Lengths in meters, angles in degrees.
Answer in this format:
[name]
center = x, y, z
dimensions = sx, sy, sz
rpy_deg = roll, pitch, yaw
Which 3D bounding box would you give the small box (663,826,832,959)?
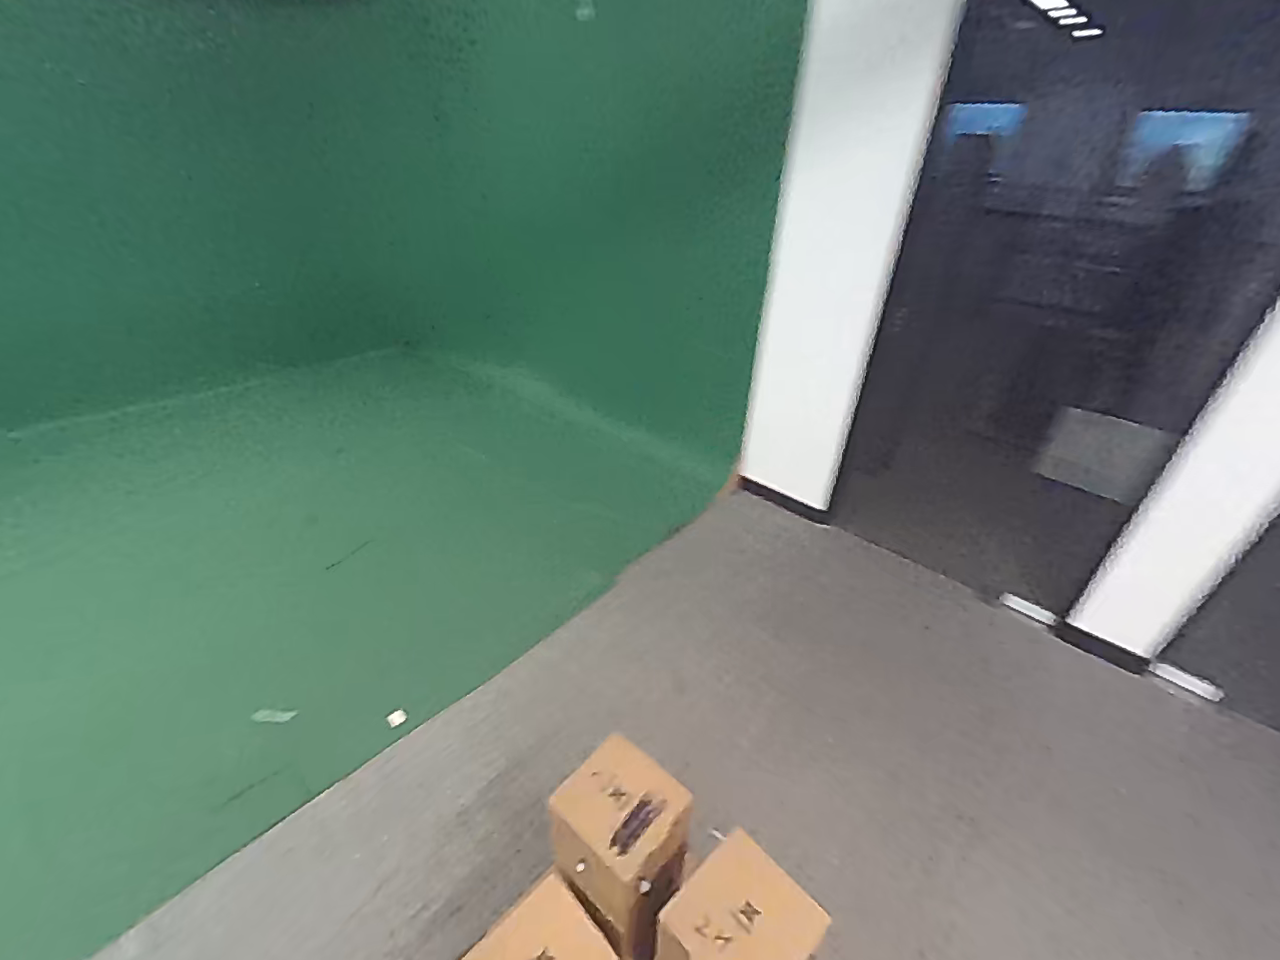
[small box]
center = 0.144, 0.662, 0.778
dimensions = 0.179, 0.176, 0.168
rpy_deg = -25, 39, -35
